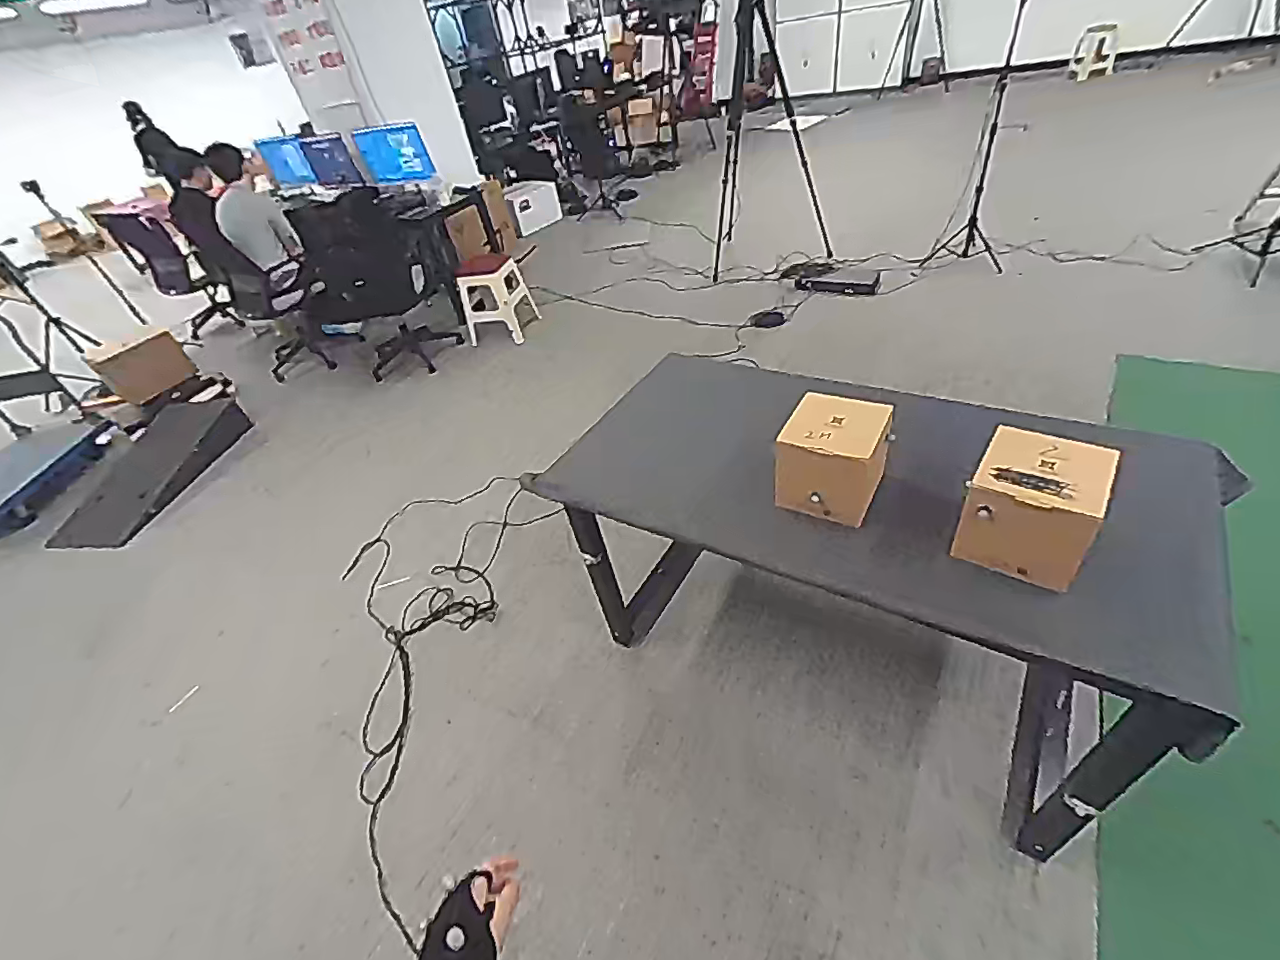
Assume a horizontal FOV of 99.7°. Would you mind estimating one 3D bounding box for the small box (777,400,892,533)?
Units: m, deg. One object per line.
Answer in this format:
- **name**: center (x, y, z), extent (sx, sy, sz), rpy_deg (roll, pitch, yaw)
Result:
- **small box**: center (0.372, -0.030, 1.051), extent (0.168, 0.176, 0.179), rpy_deg (16, 47, 30)
